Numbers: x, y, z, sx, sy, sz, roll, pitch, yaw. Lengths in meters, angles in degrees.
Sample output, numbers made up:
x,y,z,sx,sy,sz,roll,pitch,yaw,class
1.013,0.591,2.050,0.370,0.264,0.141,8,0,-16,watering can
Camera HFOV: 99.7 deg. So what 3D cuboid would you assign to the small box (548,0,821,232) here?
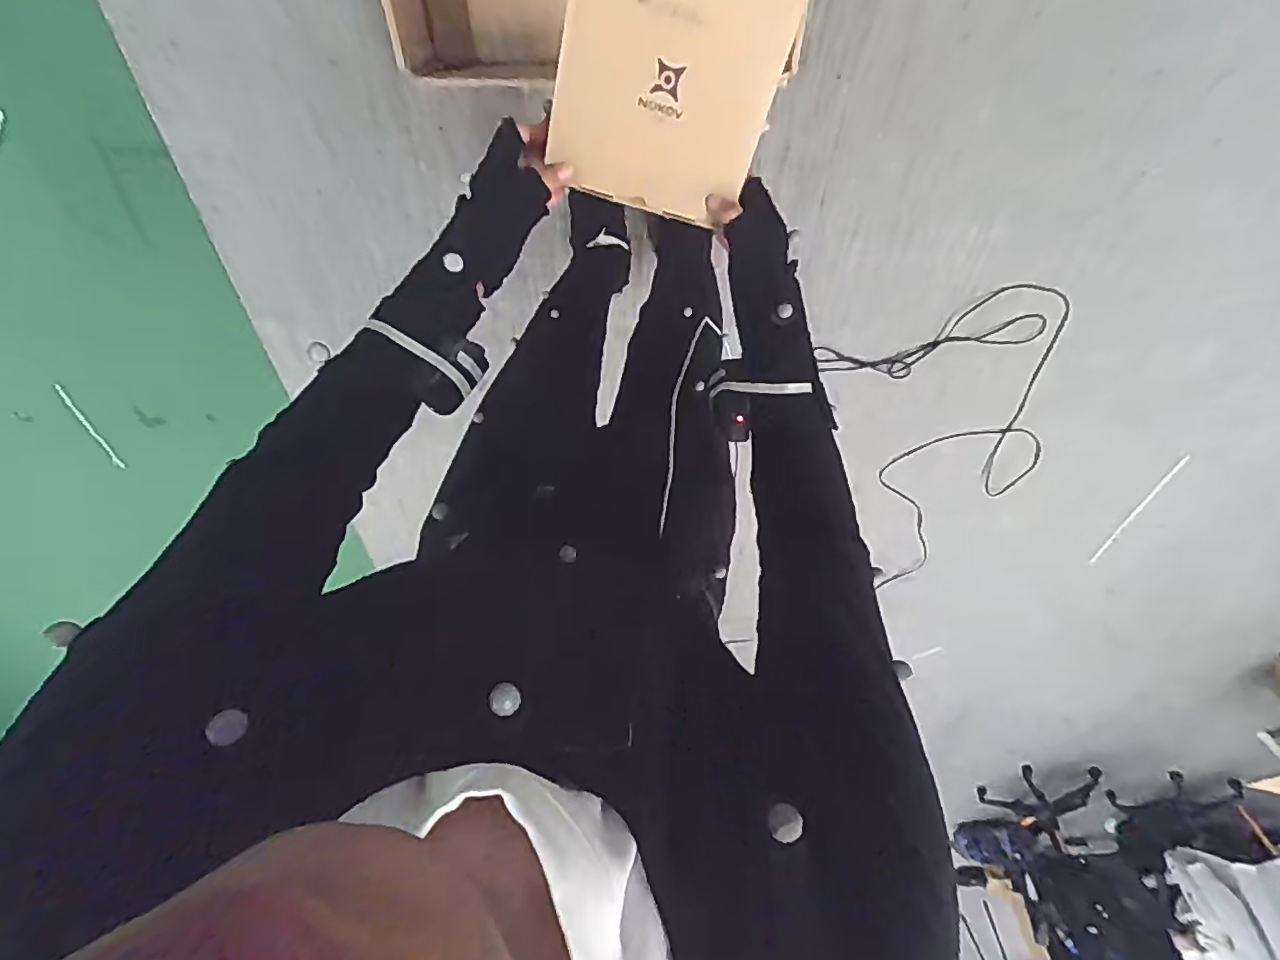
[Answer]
x,y,z,sx,sy,sz,roll,pitch,yaw,class
0.027,-0.342,0.459,0.168,0.176,0.179,12,127,-10,small box
